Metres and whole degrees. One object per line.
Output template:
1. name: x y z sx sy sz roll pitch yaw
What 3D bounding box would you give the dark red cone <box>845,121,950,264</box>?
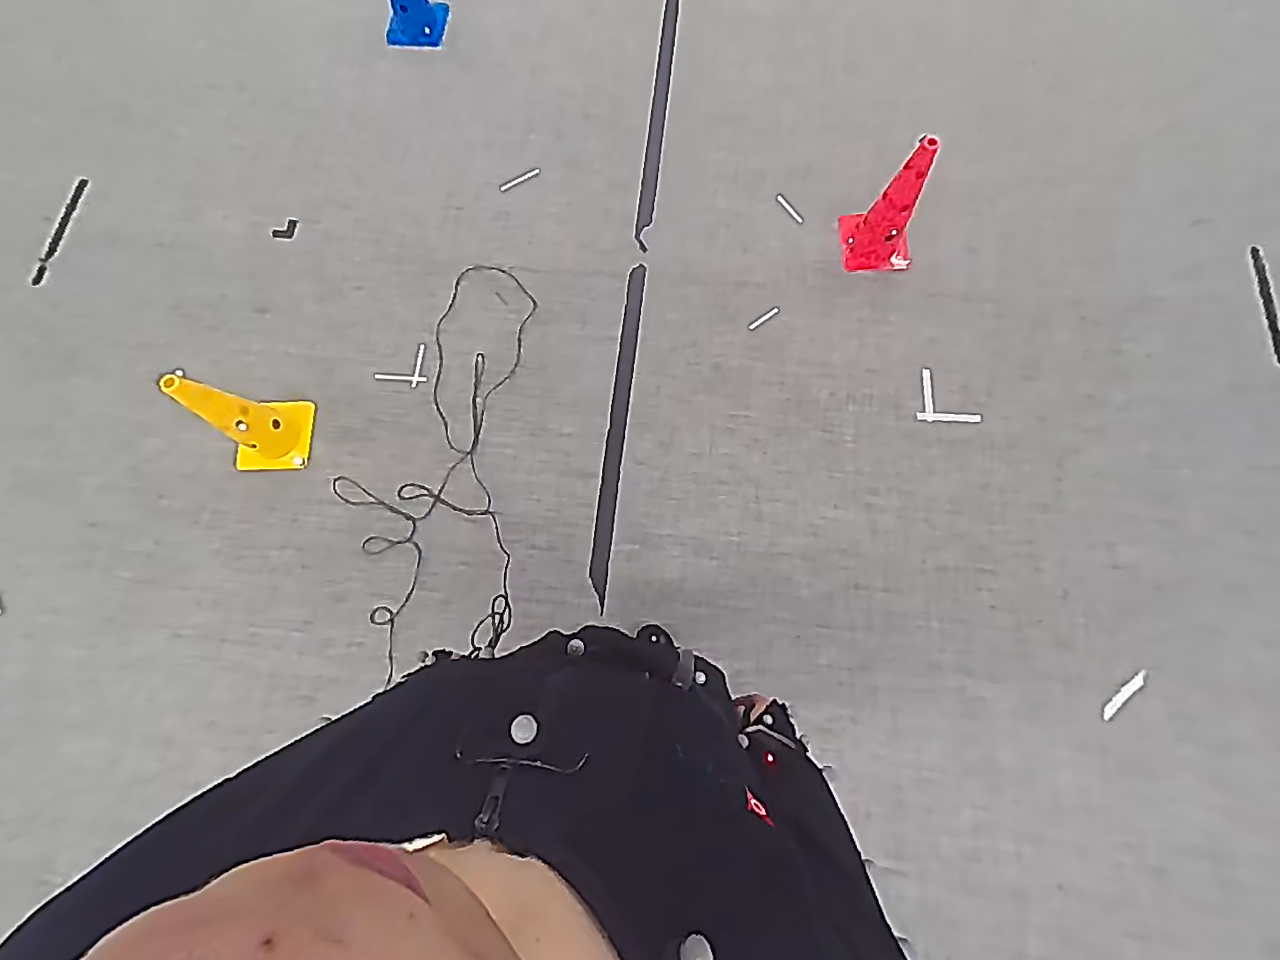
1. dark red cone: 0.705 -0.767 1.432 0.201 0.394 0.202 -2 75 2

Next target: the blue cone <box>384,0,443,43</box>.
1. blue cone: -0.796 -1.639 1.725 0.192 0.380 0.193 6 75 4
